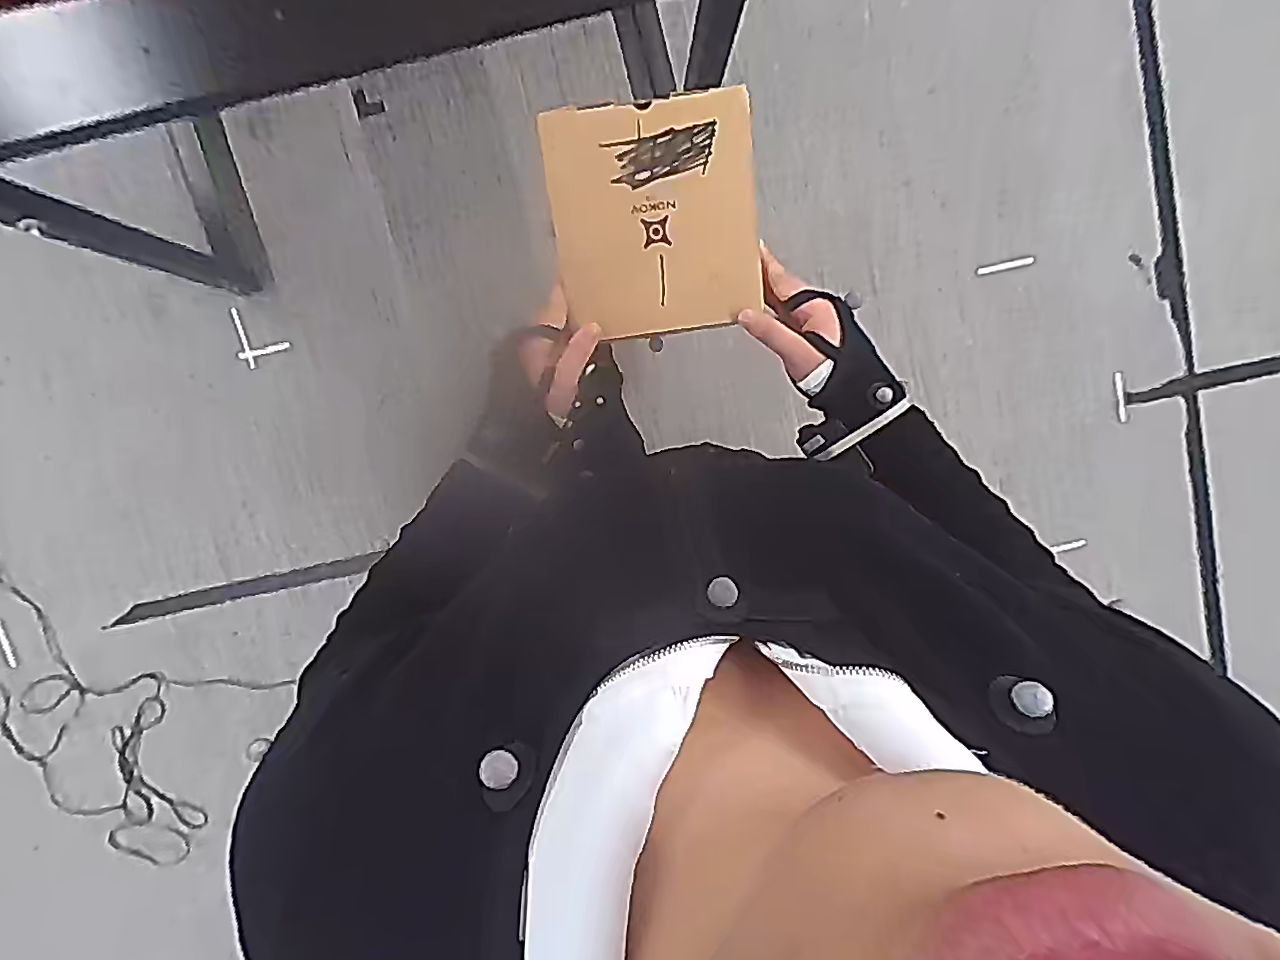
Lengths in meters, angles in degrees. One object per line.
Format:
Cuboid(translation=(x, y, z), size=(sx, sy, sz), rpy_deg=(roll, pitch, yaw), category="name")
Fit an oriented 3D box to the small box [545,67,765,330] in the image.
Cuboid(translation=(0.013, -0.244, 0.514), size=(0.168, 0.176, 0.179), rpy_deg=(-8, 104, 1), category="small box")
